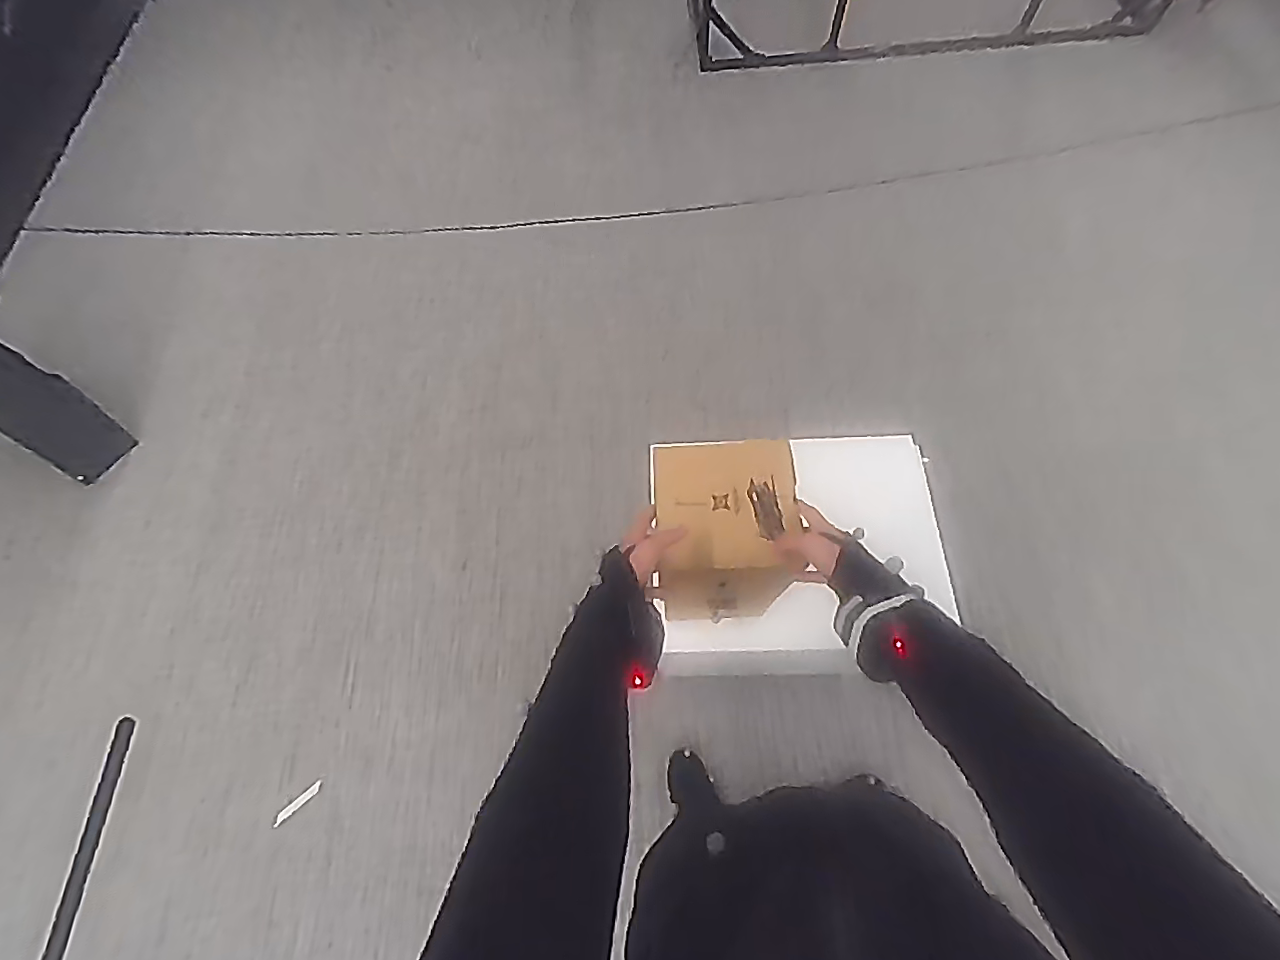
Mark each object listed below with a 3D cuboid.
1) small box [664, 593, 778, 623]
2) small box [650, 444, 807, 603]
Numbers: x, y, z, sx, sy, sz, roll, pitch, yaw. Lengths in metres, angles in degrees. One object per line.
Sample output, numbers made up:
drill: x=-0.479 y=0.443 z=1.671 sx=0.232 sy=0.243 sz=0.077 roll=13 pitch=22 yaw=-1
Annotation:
small box: x=0.117 y=0.125 z=0.871 sx=0.168 sy=0.176 sz=0.179 roll=-4 pitch=66 yaw=3
small box: x=0.105 y=0.065 z=0.716 sx=0.179 sy=0.176 sz=0.168 roll=-3 pitch=66 yaw=2
